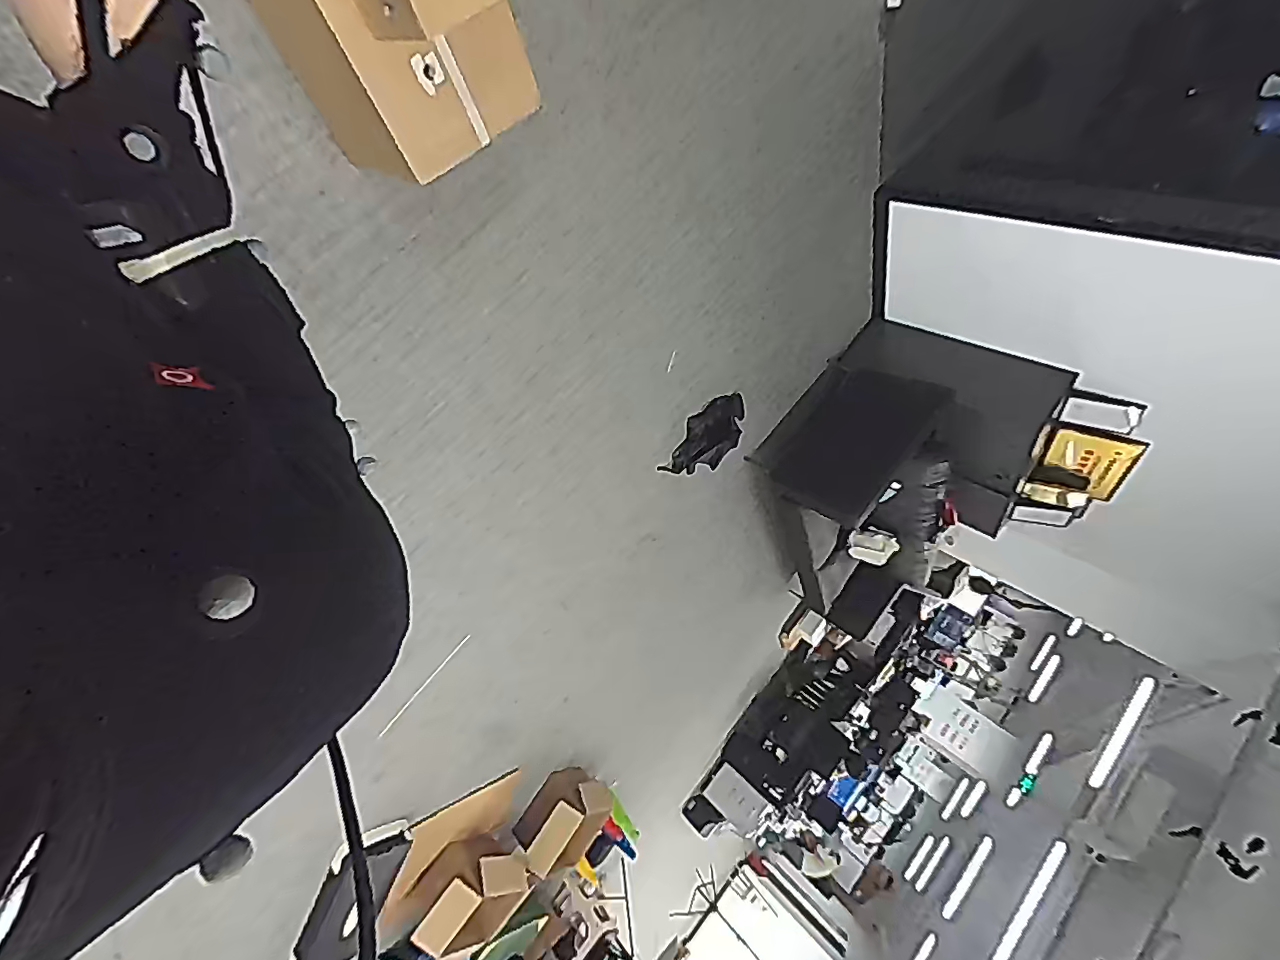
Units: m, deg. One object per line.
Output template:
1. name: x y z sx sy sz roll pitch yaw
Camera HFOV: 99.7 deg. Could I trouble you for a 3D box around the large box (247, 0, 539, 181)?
1. large box: -0.455 -0.824 0.950 0.320 0.320 0.408 -45 145 -16
